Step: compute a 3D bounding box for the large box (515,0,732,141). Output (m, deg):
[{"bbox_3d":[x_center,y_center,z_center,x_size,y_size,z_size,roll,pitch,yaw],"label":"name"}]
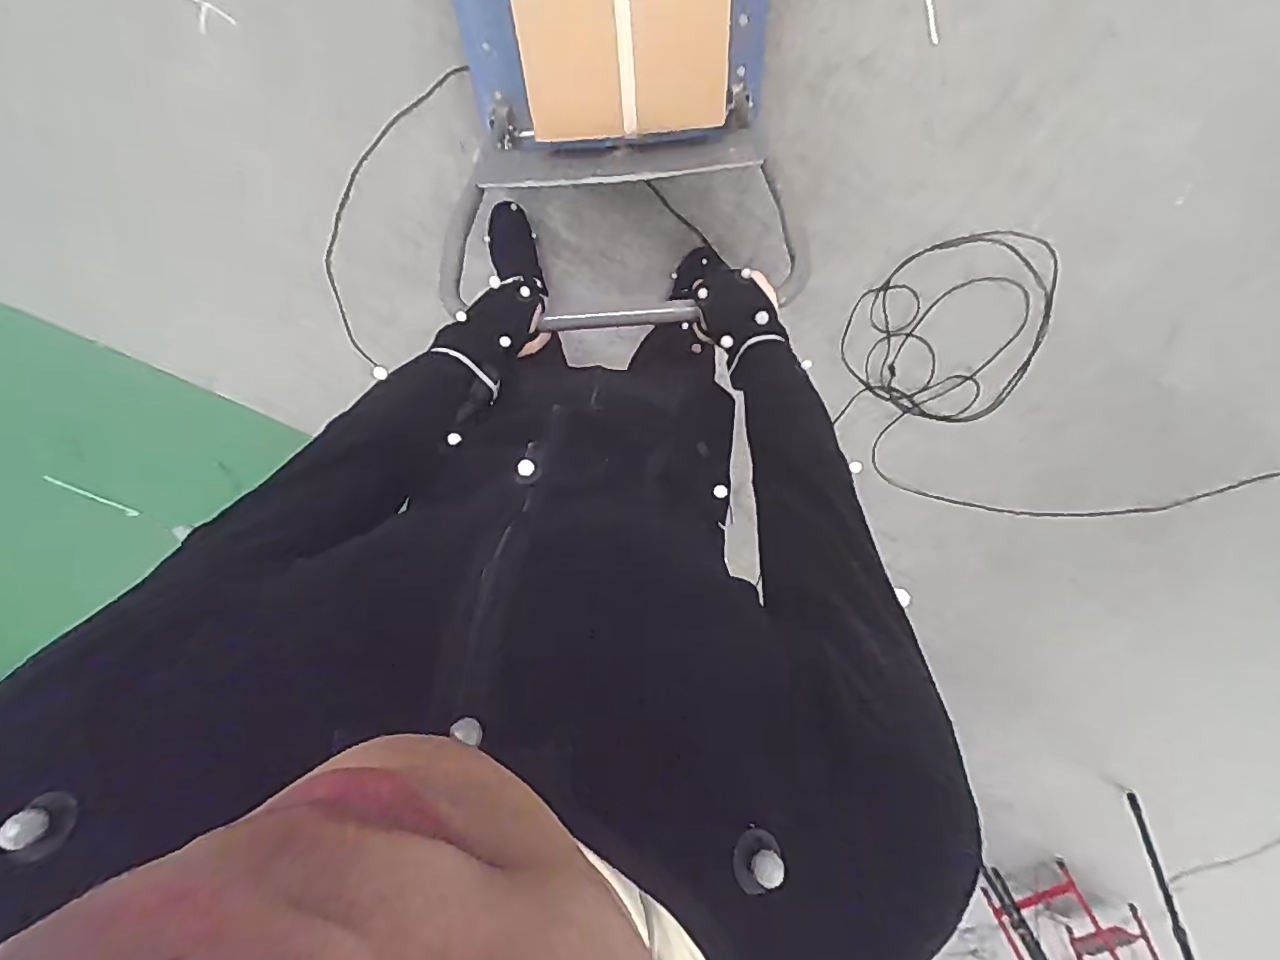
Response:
[{"bbox_3d":[-0.028,-0.813,0.850,0.320,0.320,0.408,-4,135,2],"label":"large box"}]
